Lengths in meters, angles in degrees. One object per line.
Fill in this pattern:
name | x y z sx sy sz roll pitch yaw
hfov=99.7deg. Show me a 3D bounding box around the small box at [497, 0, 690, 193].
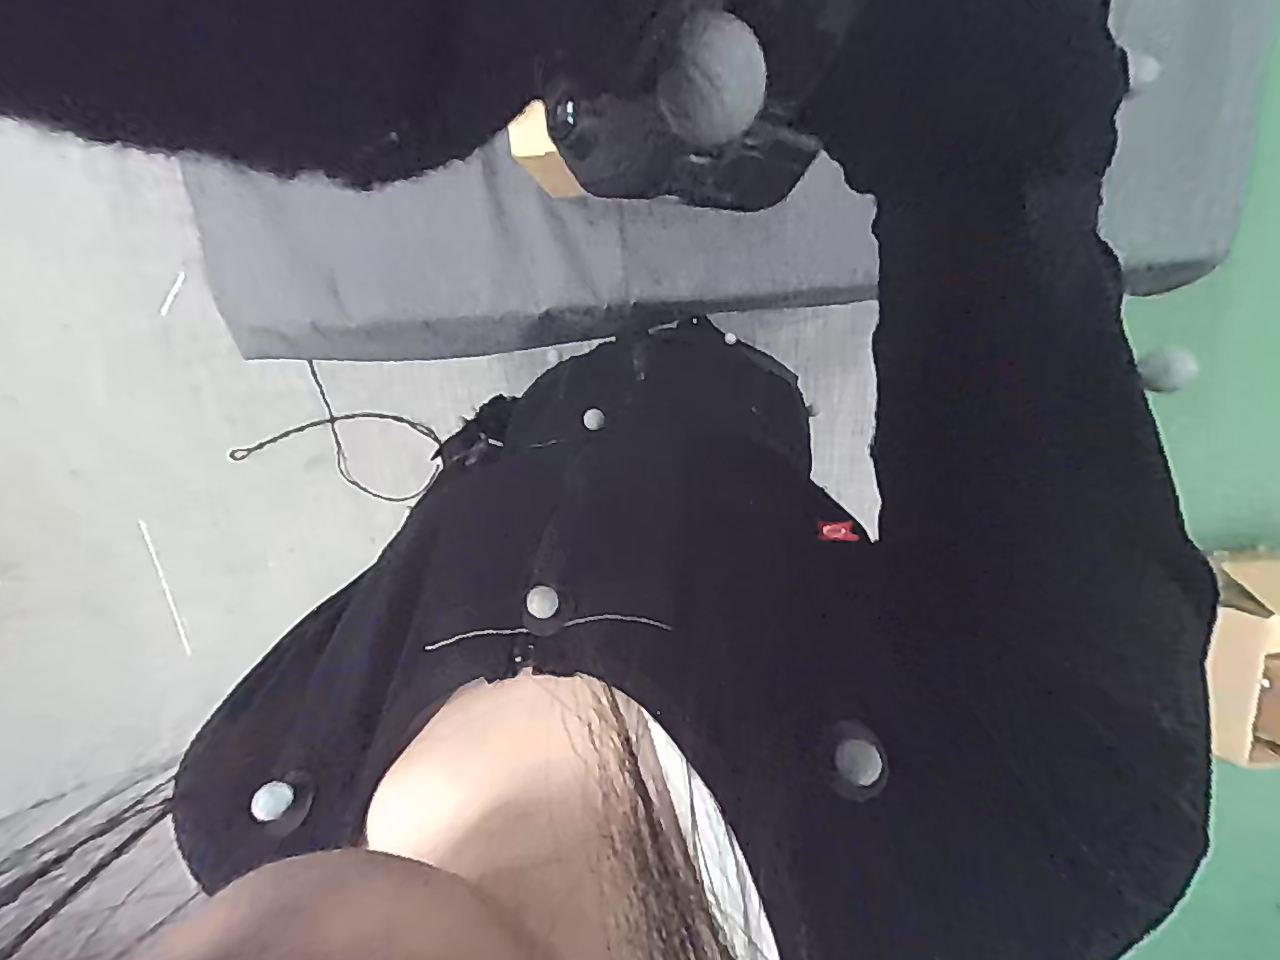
small box | -0.036 -0.408 0.544 0.168 0.176 0.179 -2 107 5
